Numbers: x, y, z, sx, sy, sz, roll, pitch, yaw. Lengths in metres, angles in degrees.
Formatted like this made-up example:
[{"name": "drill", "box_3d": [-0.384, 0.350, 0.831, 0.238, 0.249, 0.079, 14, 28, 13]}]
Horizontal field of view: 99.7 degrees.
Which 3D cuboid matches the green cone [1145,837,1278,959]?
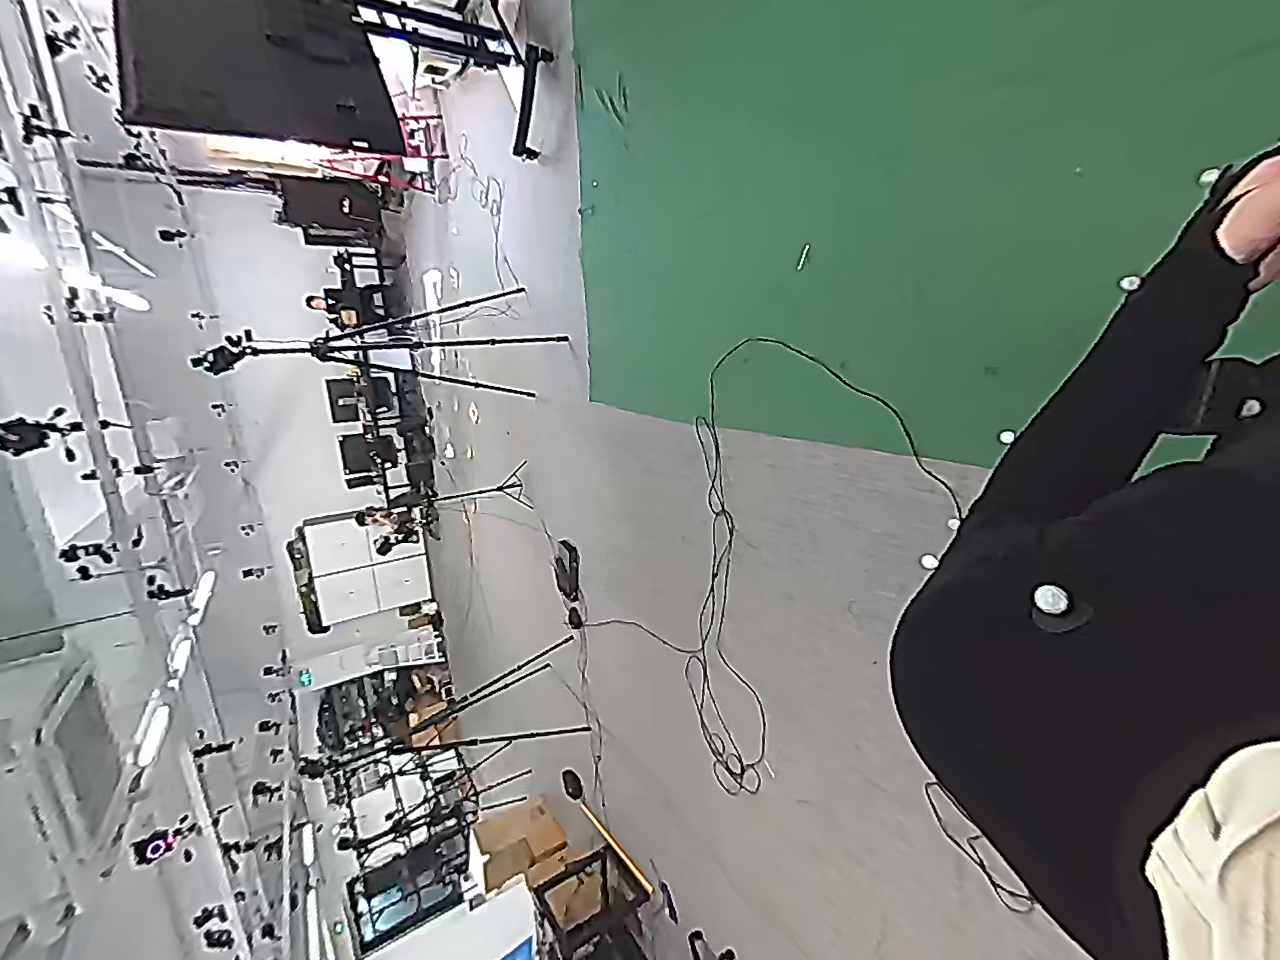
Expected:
[{"name": "green cone", "box_3d": [1.216, 1.021, 1.206, 0.202, 0.368, 0.200, 21, 117, 55]}]
